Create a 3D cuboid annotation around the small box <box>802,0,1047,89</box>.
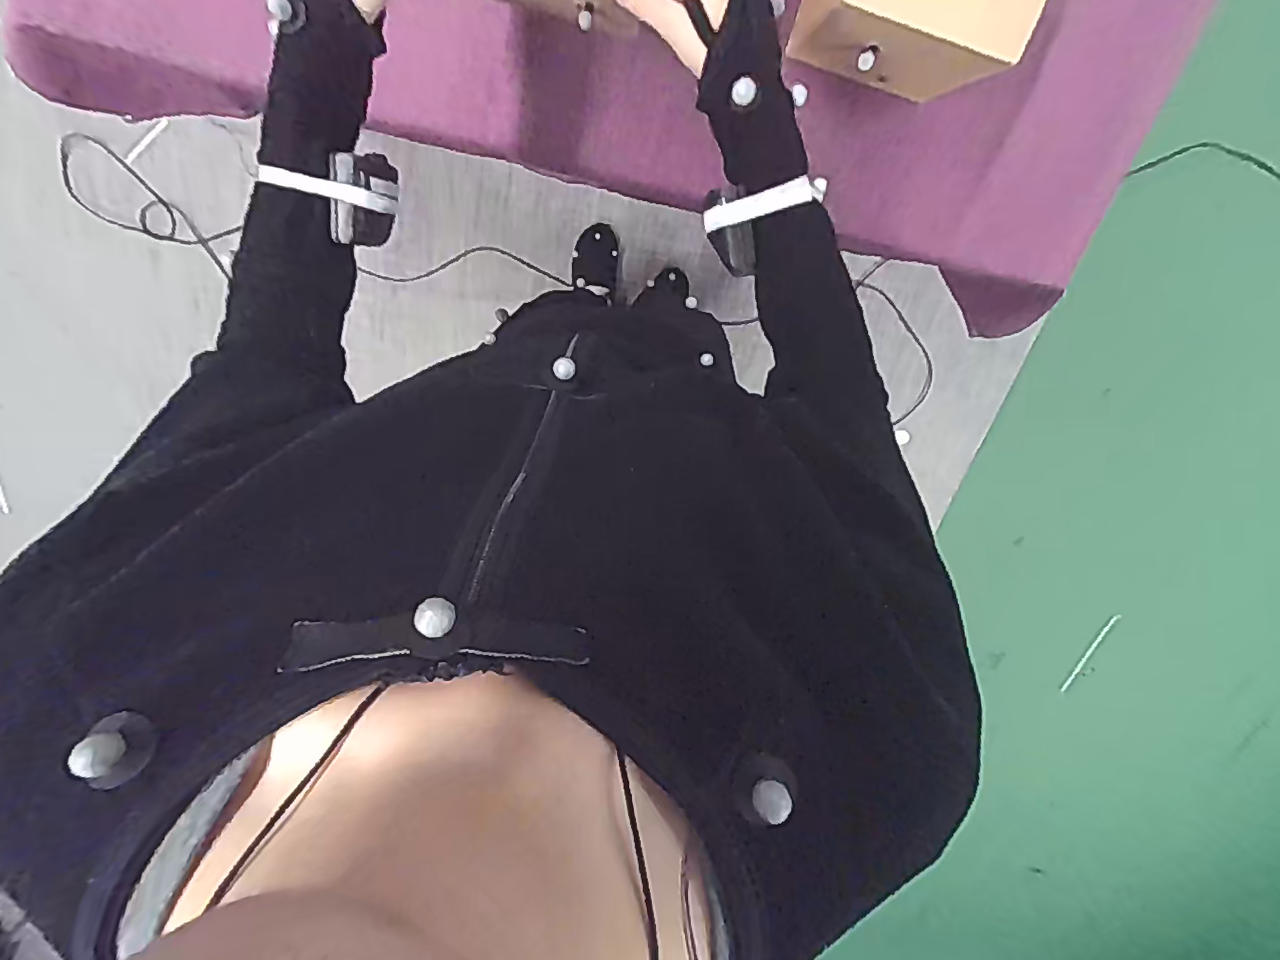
[{"bbox_3d":[0.264,-0.486,0.484,0.168,0.176,0.179,13,113,-8],"label":"small box"}]
